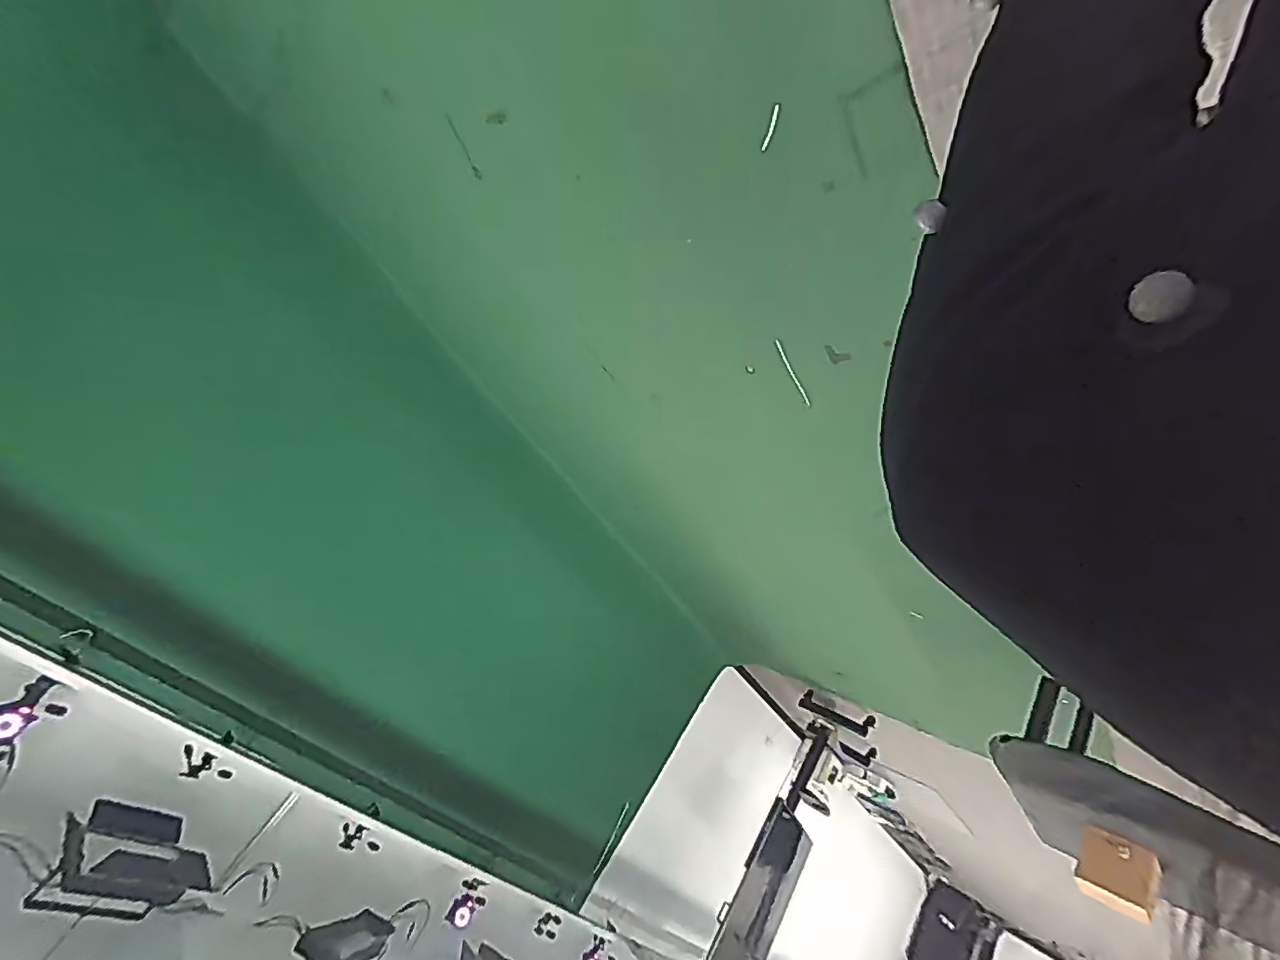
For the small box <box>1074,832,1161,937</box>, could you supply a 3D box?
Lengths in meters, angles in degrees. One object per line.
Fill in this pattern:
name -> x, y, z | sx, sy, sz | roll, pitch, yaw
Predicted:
small box -> 1.438, 1.208, 1.624 | 0.168, 0.176, 0.179 | 2, 138, 51
